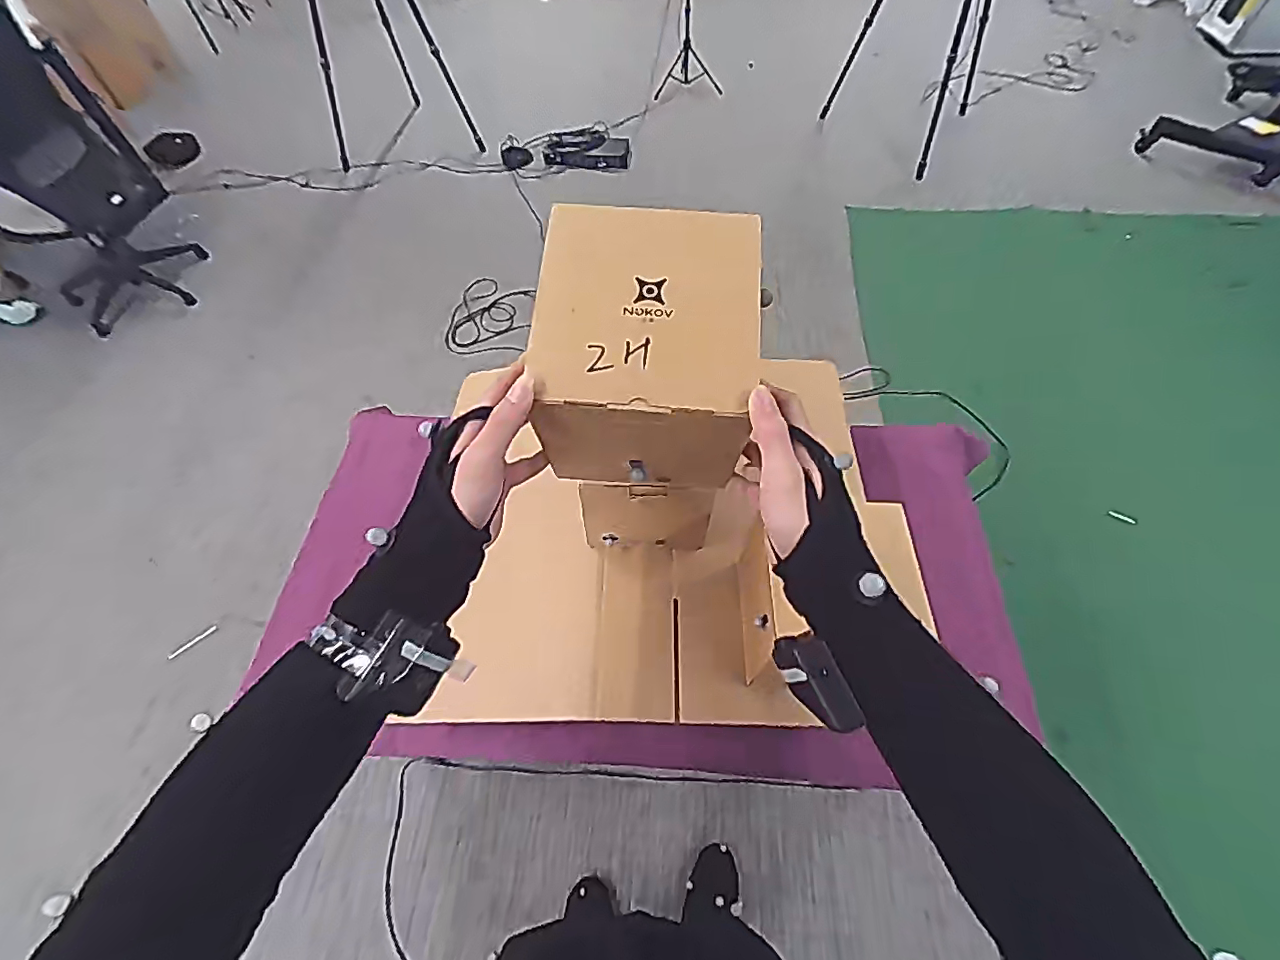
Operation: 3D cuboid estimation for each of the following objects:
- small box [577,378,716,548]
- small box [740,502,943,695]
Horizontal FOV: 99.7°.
[{"bbox_3d":[0.010,-0.018,0.739,0.168,0.176,0.179,1,57,0],"label":"small box"},{"bbox_3d":[0.217,0.144,0.640,0.168,0.176,0.179,1,58,0],"label":"small box"}]
